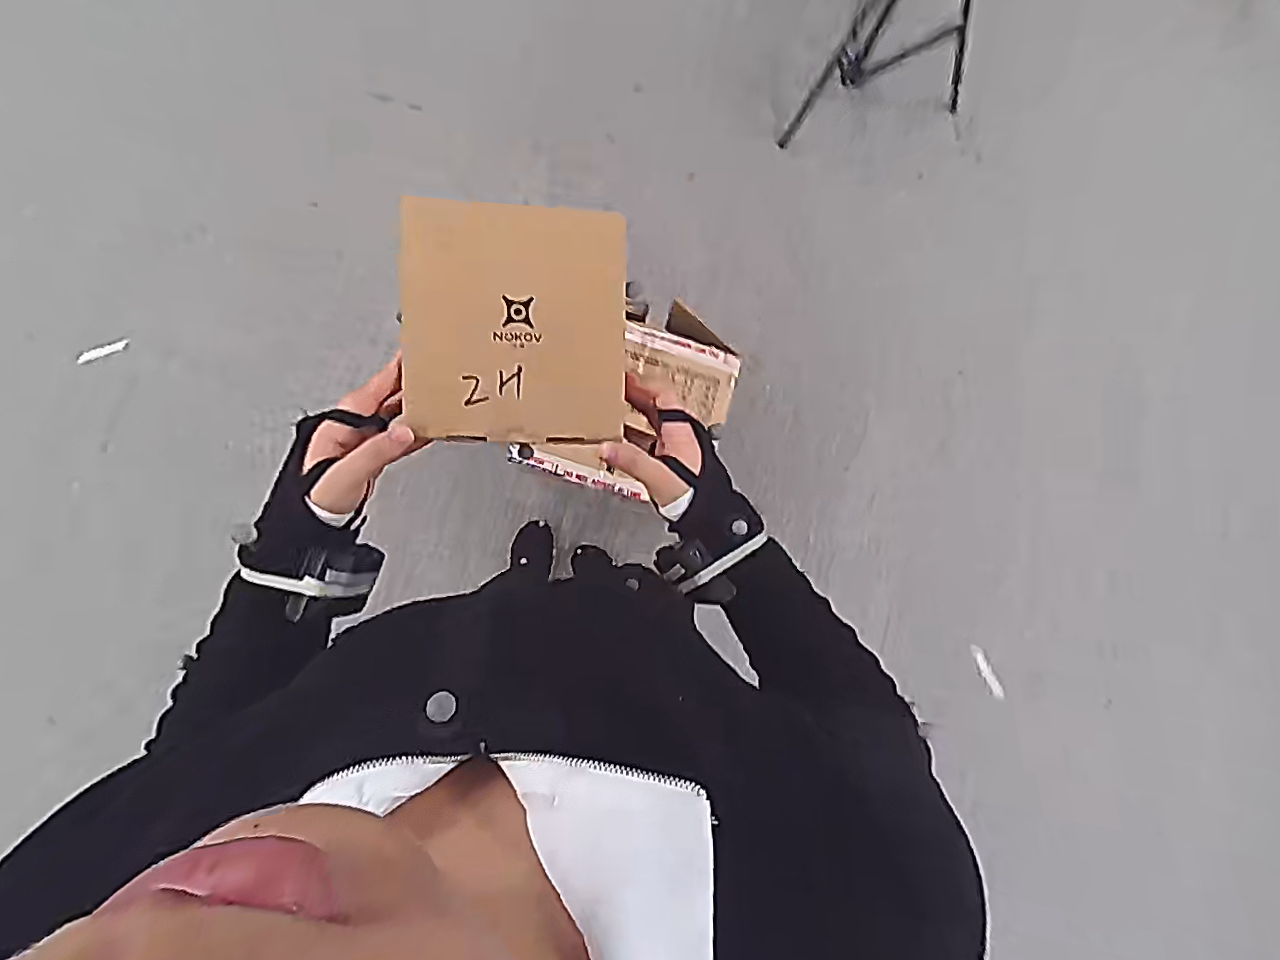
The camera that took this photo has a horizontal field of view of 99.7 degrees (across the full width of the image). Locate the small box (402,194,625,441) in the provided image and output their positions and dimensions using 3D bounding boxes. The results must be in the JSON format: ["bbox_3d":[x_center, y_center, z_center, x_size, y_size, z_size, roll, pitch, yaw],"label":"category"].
[{"bbox_3d":[-0.105,-0.125,0.486,0.168,0.176,0.179,0,93,-8],"label":"small box"}]
